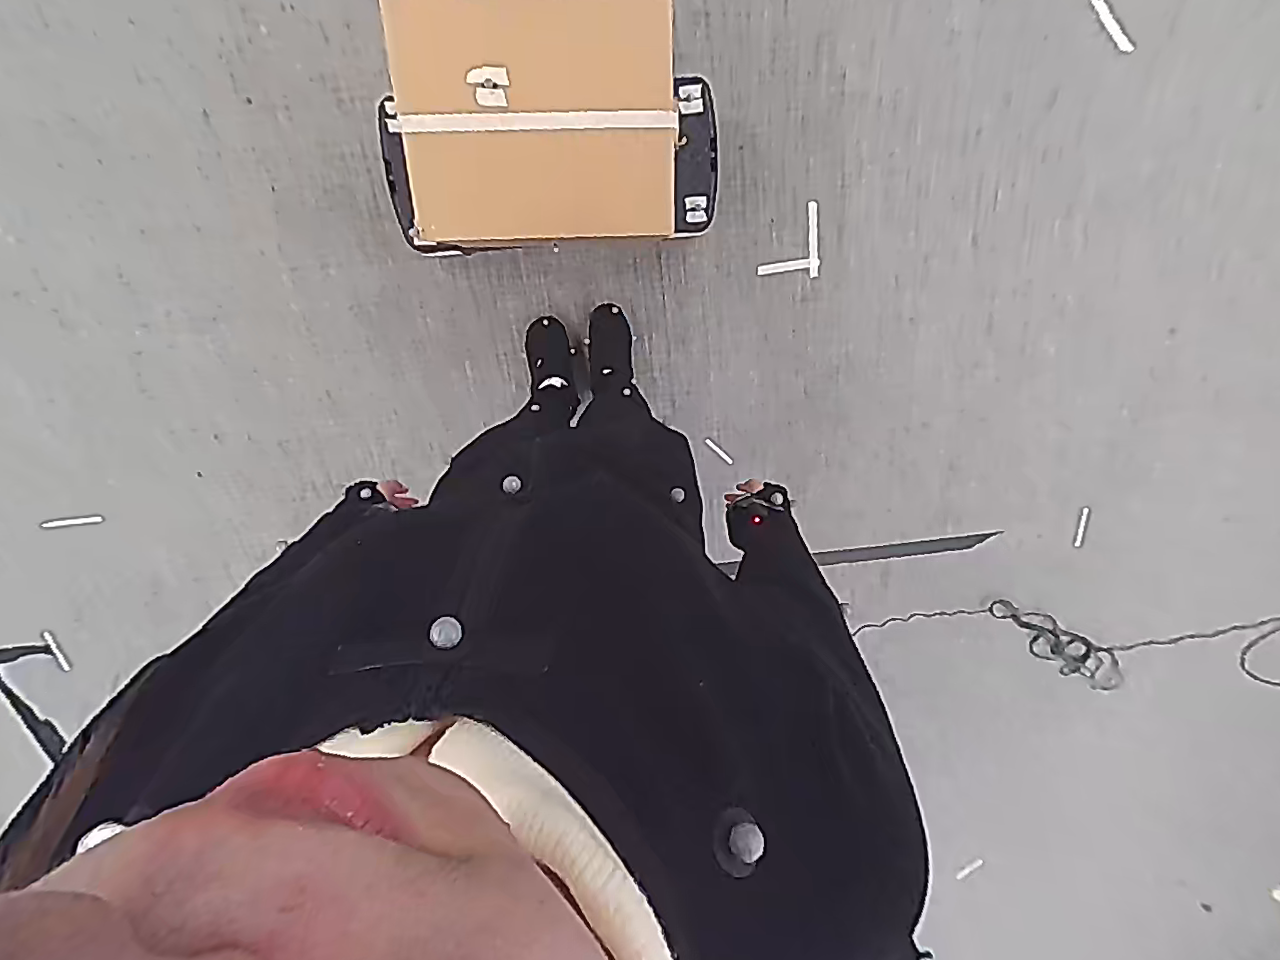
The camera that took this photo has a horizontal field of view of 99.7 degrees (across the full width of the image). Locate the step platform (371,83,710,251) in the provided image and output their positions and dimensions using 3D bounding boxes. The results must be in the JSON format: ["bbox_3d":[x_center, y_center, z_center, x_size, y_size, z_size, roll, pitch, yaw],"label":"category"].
[{"bbox_3d":[-0.194,-0.650,1.155,0.684,0.204,0.286,-1,111,-4],"label":"step platform"}]

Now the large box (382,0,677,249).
[{"bbox_3d":[-0.155,-0.576,0.930,0.408,0.320,0.320,-3,111,-3],"label":"large box"}]
